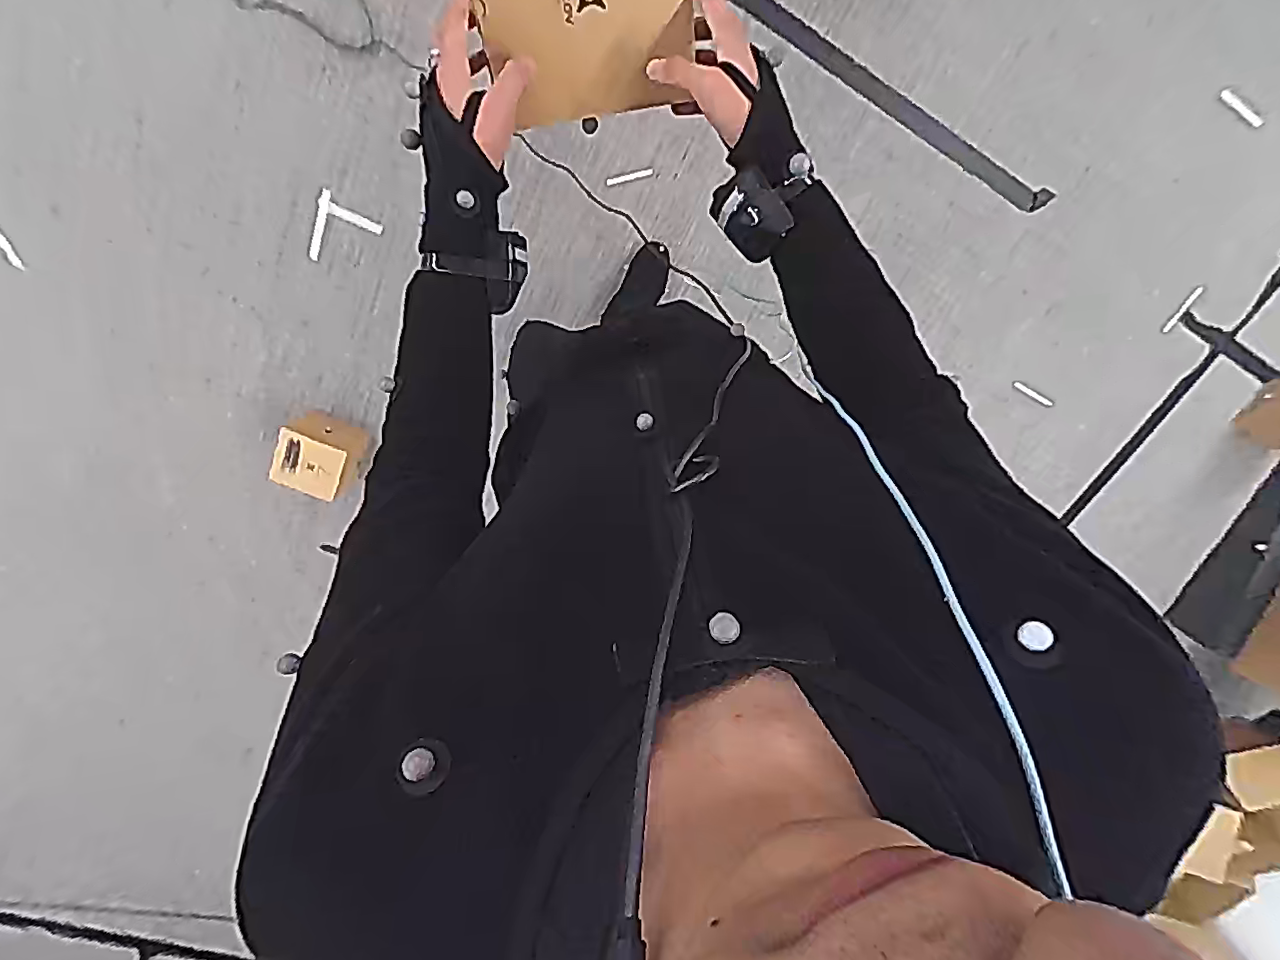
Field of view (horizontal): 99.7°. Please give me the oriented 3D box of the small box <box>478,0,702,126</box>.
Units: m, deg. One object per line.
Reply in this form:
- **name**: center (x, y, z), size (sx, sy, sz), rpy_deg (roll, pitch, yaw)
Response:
- **small box**: center (-0.050, -0.433, 0.476), size (0.179, 0.176, 0.168), rpy_deg (-10, 132, -2)
